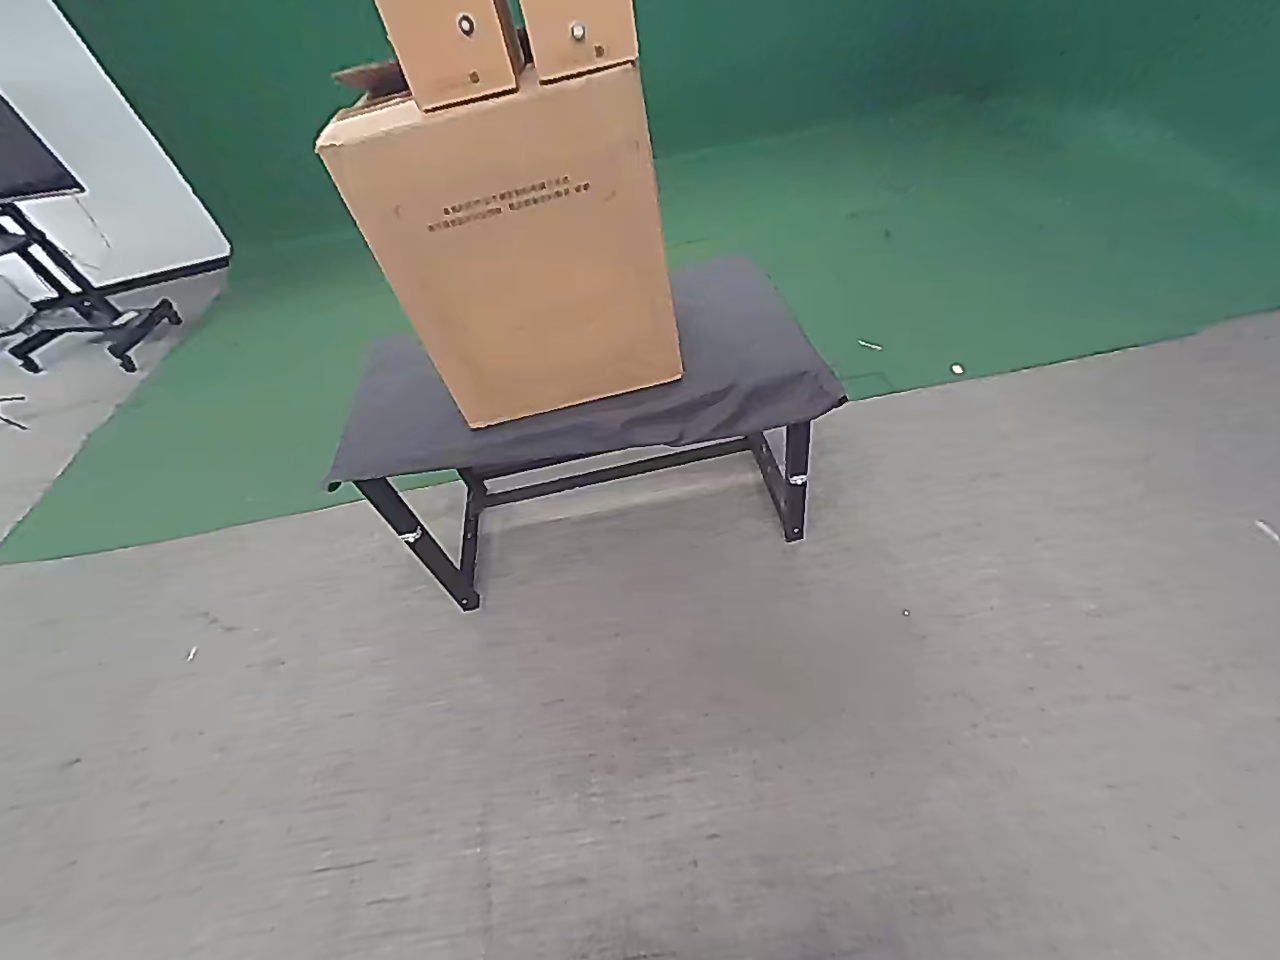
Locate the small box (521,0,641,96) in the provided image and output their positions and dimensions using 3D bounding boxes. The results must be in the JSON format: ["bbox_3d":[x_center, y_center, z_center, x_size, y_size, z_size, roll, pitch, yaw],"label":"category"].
[{"bbox_3d":[-0.100,-0.742,0.866,0.168,0.176,0.179,-13,47,1],"label":"small box"}]
